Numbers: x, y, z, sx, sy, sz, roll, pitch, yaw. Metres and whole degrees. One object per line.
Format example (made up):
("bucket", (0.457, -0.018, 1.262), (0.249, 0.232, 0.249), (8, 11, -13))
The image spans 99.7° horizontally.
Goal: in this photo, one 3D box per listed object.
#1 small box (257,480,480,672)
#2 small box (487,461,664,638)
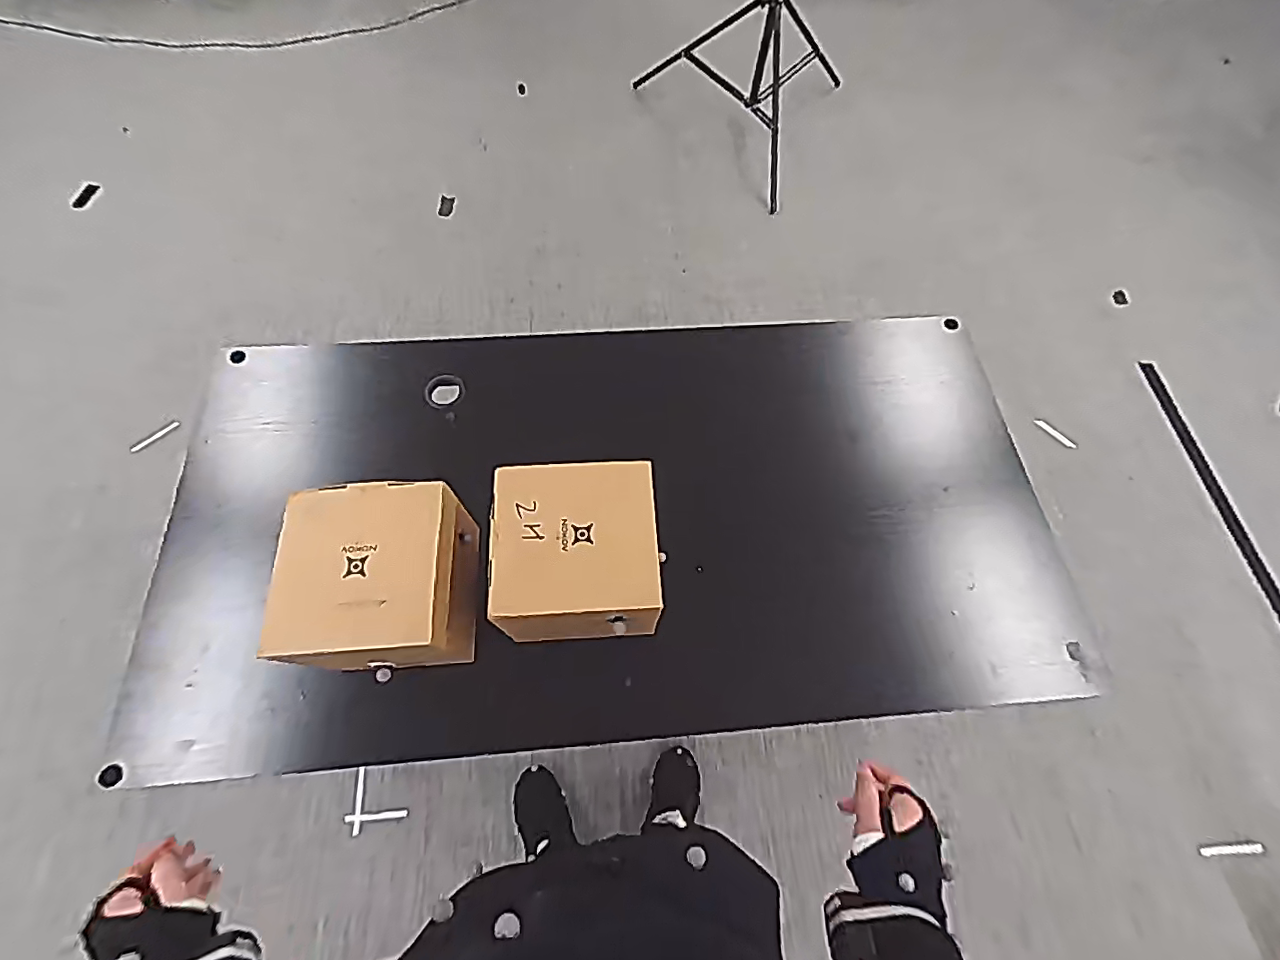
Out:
("small box", (-0.287, 0.115, 0.617), (0.168, 0.176, 0.179), (-4, 67, -3))
("small box", (-0.070, 0.088, 0.634), (0.179, 0.176, 0.168), (-2, 65, -3))
